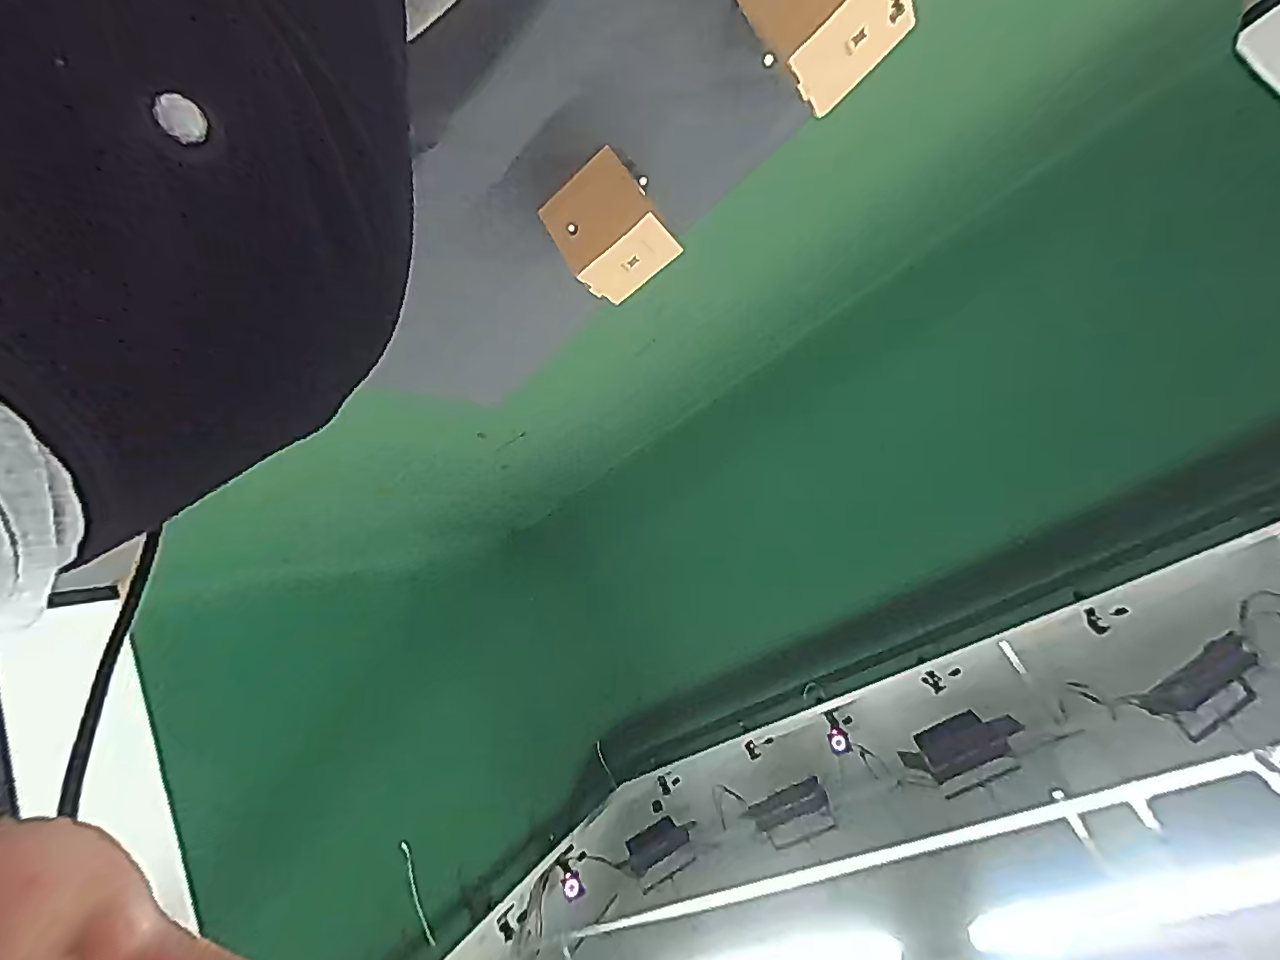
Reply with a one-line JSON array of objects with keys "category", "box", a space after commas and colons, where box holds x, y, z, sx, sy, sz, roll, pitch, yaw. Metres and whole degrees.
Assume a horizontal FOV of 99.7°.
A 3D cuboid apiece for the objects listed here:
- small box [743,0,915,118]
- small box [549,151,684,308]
[{"category": "small box", "box": [0.276, -0.711, 0.812, 0.179, 0.176, 0.168, -36, 164, 29]}, {"category": "small box", "box": [-0.051, -0.470, 1.031, 0.179, 0.176, 0.168, -36, 165, 21]}]
